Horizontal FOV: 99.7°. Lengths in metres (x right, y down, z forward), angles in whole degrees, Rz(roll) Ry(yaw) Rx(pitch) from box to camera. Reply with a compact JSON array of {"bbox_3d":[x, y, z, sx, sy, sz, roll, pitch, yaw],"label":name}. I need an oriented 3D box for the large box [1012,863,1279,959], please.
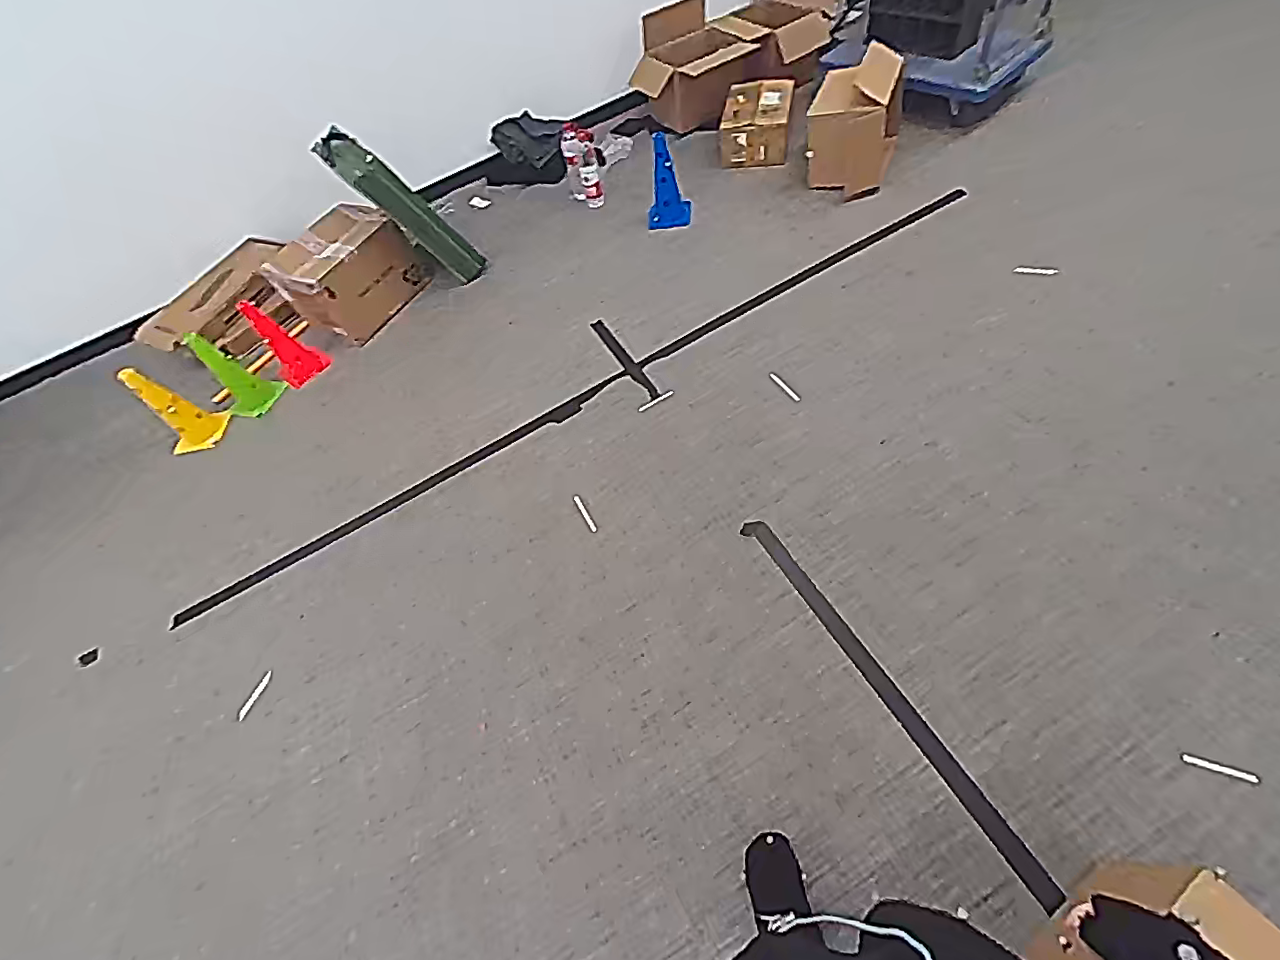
[{"bbox_3d":[0.786,0.865,0.808,0.408,0.320,0.320,-35,58,-13],"label":"large box"}]
